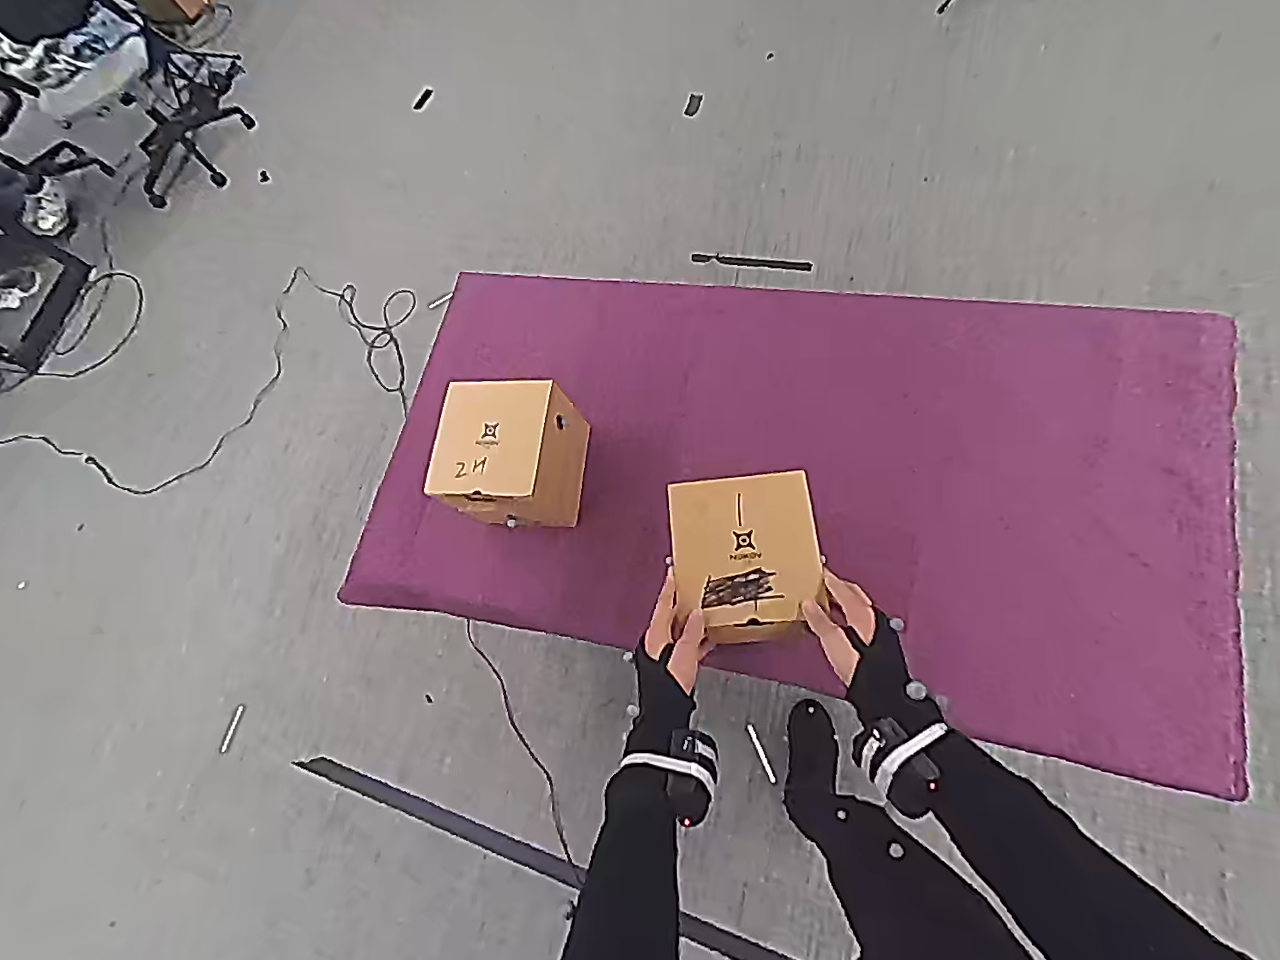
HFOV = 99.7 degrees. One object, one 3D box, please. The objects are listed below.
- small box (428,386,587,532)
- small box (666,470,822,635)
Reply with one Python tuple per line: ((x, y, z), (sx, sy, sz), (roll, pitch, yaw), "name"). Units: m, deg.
((-0.189, -0.028, 0.828), (0.168, 0.176, 0.179), (1, 73, 15), "small box")
((0.129, 0.104, 0.696), (0.168, 0.176, 0.179), (-6, 69, 8), "small box")
